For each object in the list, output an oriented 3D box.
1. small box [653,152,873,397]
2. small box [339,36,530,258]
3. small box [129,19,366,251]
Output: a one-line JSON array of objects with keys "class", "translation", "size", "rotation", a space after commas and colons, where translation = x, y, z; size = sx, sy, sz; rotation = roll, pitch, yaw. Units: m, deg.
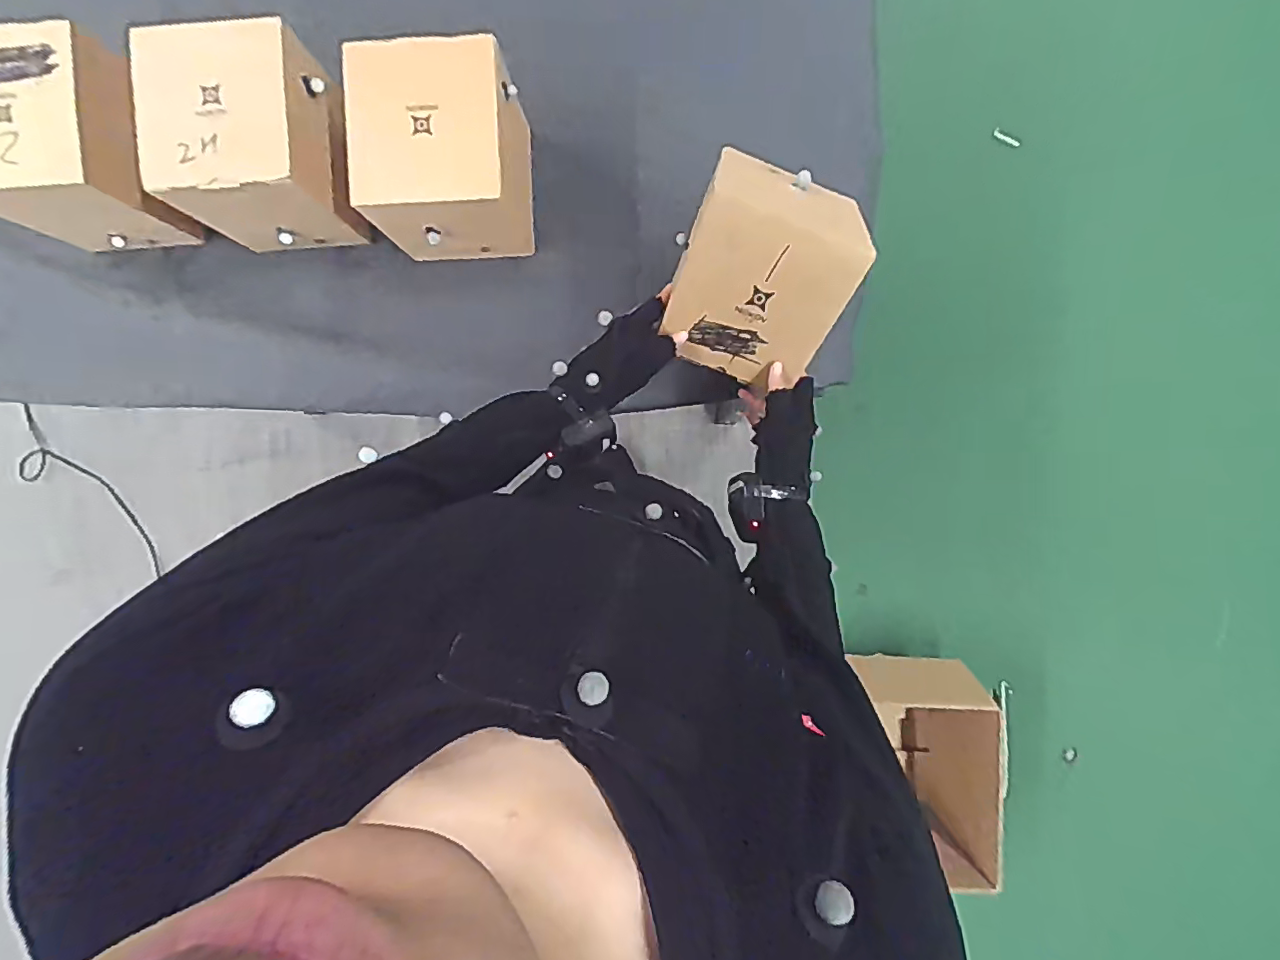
[{"class": "small box", "translation": [0.129, -0.231, 0.607], "size": [0.168, 0.176, 0.179], "rotation": [20, 132, -7]}, {"class": "small box", "translation": [-0.234, -0.383, 0.657], "size": [0.168, 0.176, 0.179], "rotation": [-3, 91, 1]}, {"class": "small box", "translation": [-0.458, -0.401, 0.656], "size": [0.168, 0.176, 0.179], "rotation": [-3, 92, 1]}]
